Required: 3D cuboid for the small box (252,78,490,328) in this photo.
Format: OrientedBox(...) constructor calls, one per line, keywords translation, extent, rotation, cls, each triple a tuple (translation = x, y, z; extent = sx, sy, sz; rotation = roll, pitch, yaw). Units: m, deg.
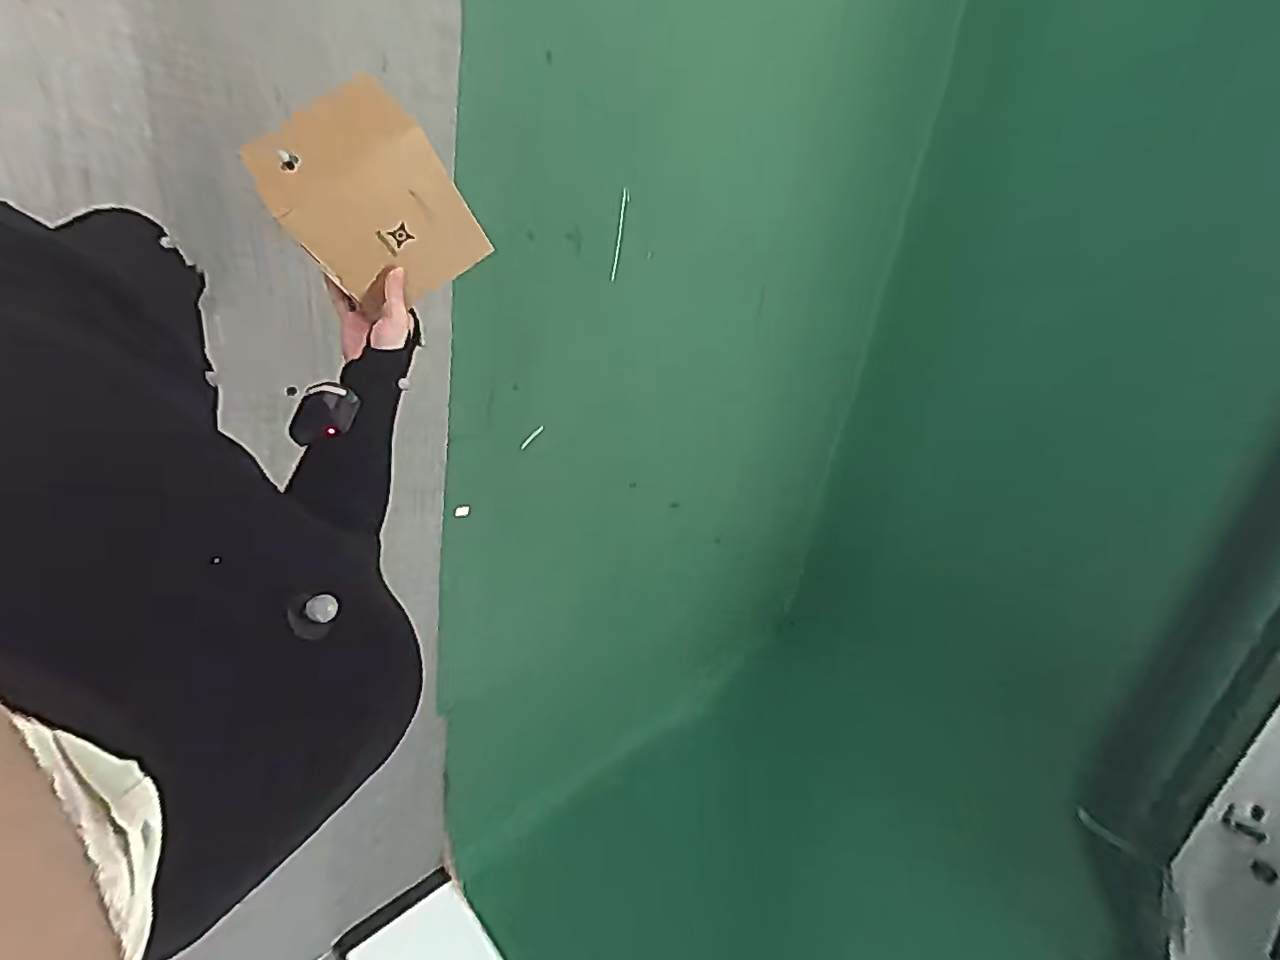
OrientedBox(translation=(-0.318, -0.326, 0.642), extent=(0.179, 0.176, 0.168), rotation=(-37, 152, -4), cls="small box")
